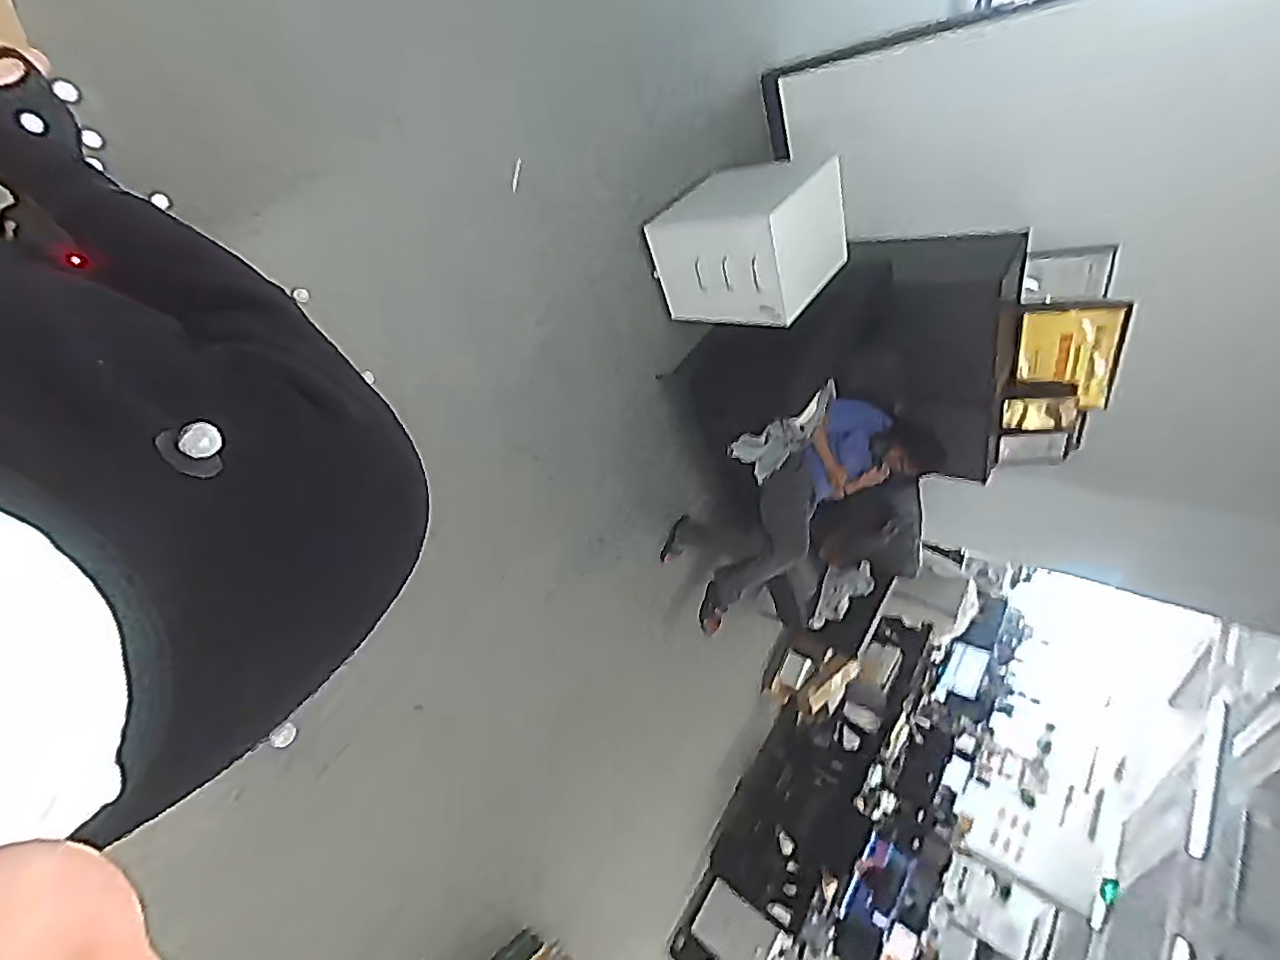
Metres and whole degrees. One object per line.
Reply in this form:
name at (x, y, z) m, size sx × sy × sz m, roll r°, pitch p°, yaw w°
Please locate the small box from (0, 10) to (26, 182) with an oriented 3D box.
small box at (-0.662, -0.377, 0.453) m, size 0.179 × 0.176 × 0.168 m, roll -7°, pitch 95°, yaw -40°
